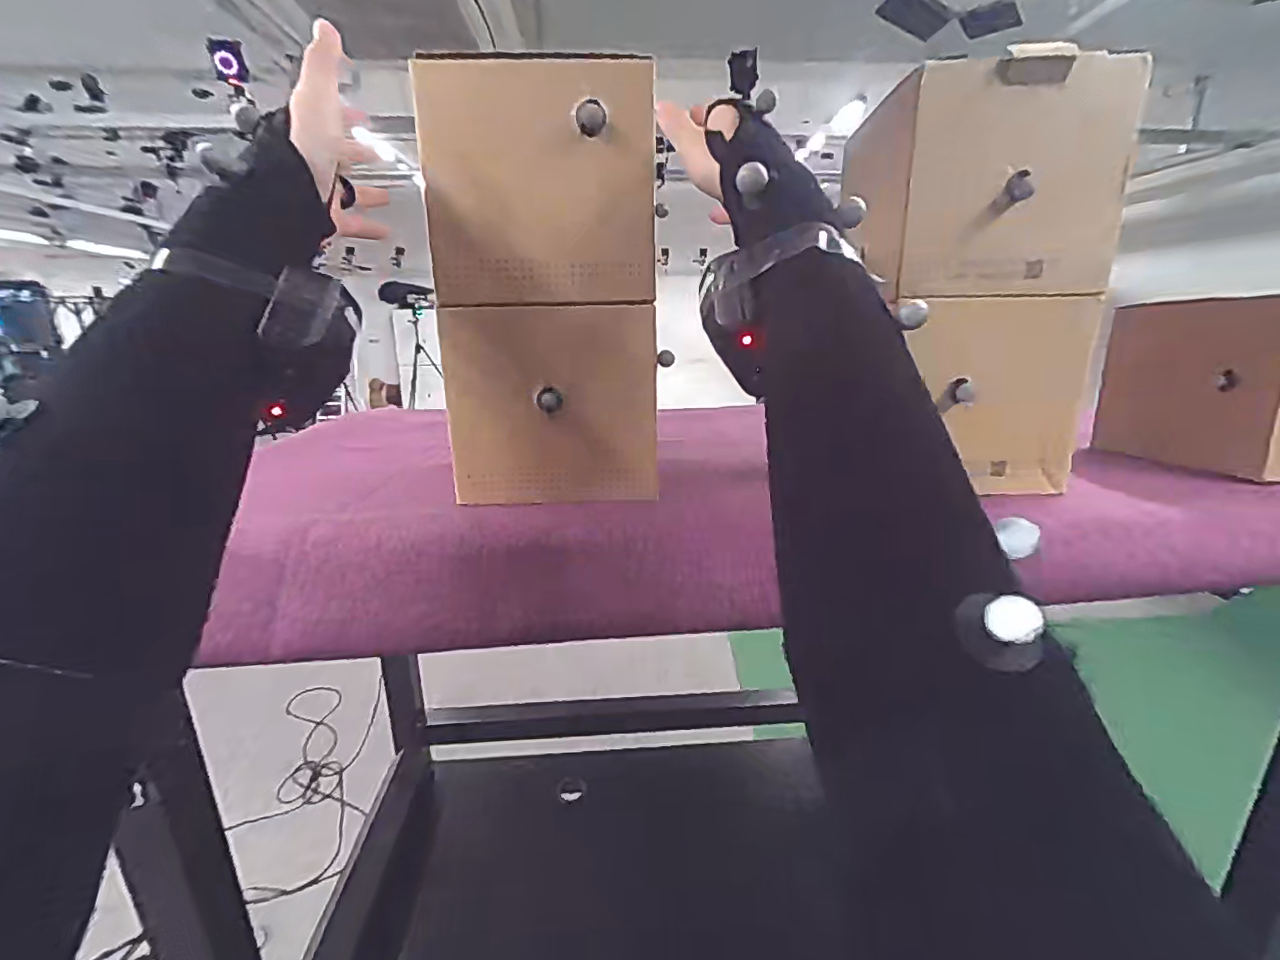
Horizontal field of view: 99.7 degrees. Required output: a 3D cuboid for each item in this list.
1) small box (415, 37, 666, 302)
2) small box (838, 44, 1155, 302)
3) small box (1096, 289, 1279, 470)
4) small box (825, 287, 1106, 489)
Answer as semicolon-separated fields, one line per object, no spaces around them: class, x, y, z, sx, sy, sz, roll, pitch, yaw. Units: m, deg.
small box;-0.070;-0.247;0.473;0.179;0.176;0.168;-2;16;-1
small box;0.291;-0.250;0.487;0.168;0.176;0.179;0;15;2
small box;0.631;-0.104;0.559;0.168;0.176;0.179;-2;14;-6
small box;0.291;-0.090;0.527;0.168;0.176;0.179;0;14;1
